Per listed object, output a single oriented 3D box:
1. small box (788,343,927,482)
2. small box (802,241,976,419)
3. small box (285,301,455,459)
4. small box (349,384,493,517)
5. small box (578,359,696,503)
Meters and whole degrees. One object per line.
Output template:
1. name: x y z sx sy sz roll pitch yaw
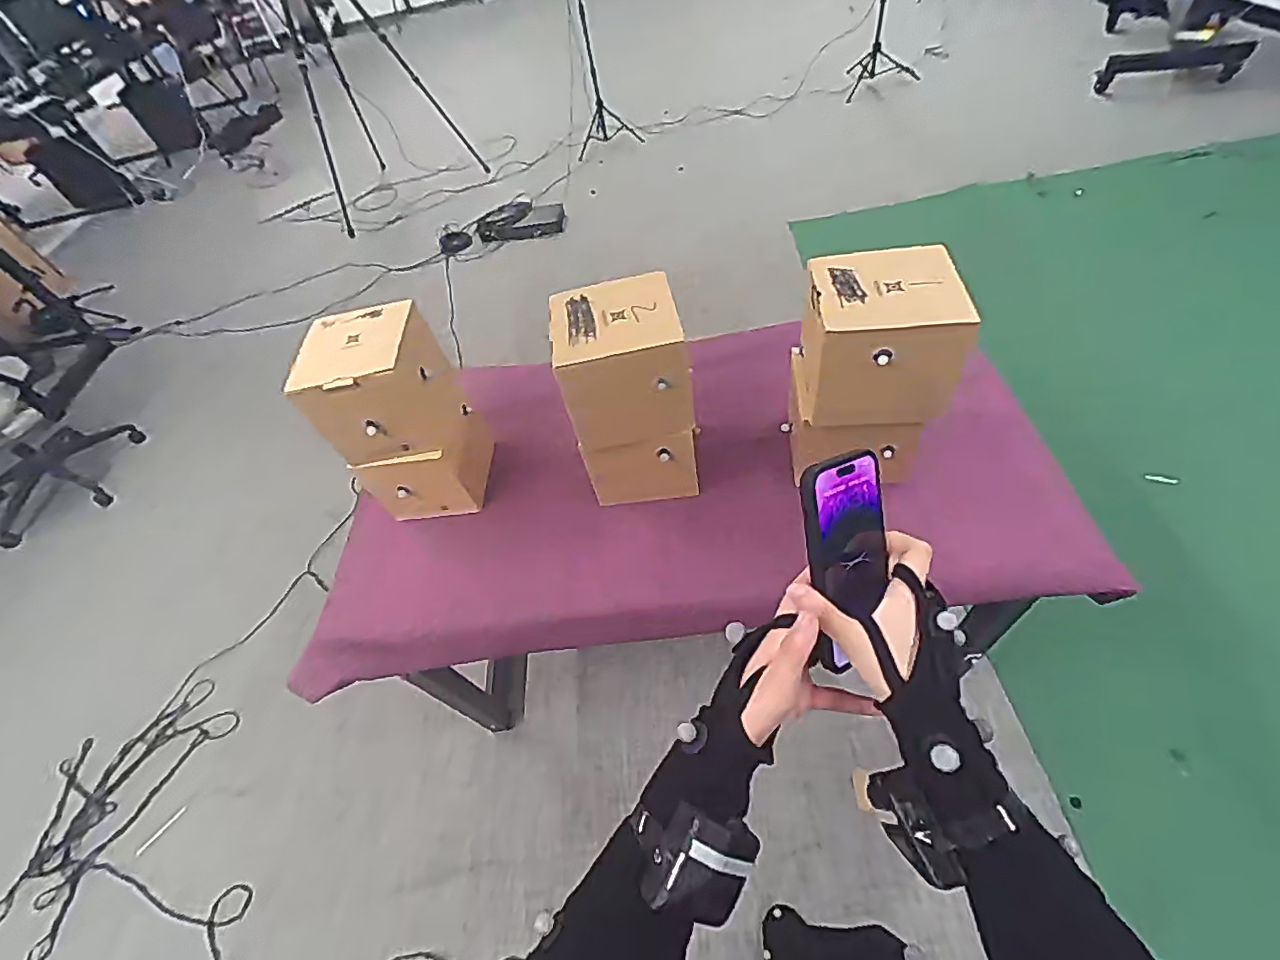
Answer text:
1. small box: 0.338 -0.110 0.876 0.179 0.176 0.168 -3 52 11
2. small box: 0.319 -0.197 0.738 0.179 0.176 0.168 -2 52 10
3. small box: -0.412 -0.150 0.860 0.168 0.176 0.179 -10 52 3
4. small box: -0.383 -0.045 0.984 0.168 0.176 0.179 -7 52 7
5. small box: 0.002 -0.079 0.924 0.179 0.176 0.168 -7 52 7
